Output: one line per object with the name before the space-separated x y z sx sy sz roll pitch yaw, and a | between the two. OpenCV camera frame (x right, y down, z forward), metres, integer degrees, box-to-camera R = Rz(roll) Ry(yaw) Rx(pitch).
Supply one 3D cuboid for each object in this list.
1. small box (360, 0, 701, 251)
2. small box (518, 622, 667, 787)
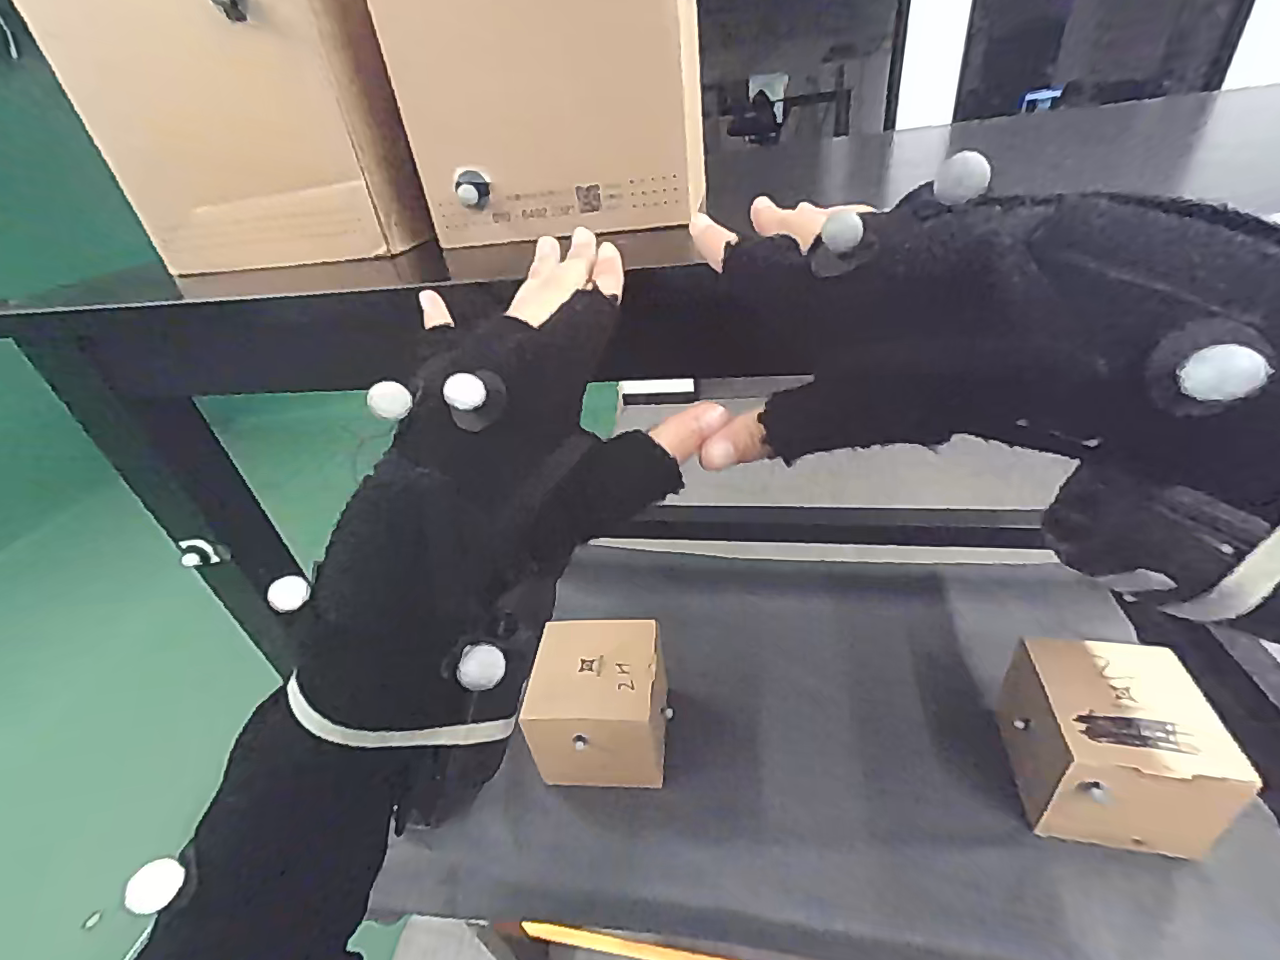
small box | -0.048 -0.259 0.364 0.168 0.176 0.179 -1 34 11
small box | -0.058 0.331 0.803 0.179 0.176 0.168 -2 35 8
